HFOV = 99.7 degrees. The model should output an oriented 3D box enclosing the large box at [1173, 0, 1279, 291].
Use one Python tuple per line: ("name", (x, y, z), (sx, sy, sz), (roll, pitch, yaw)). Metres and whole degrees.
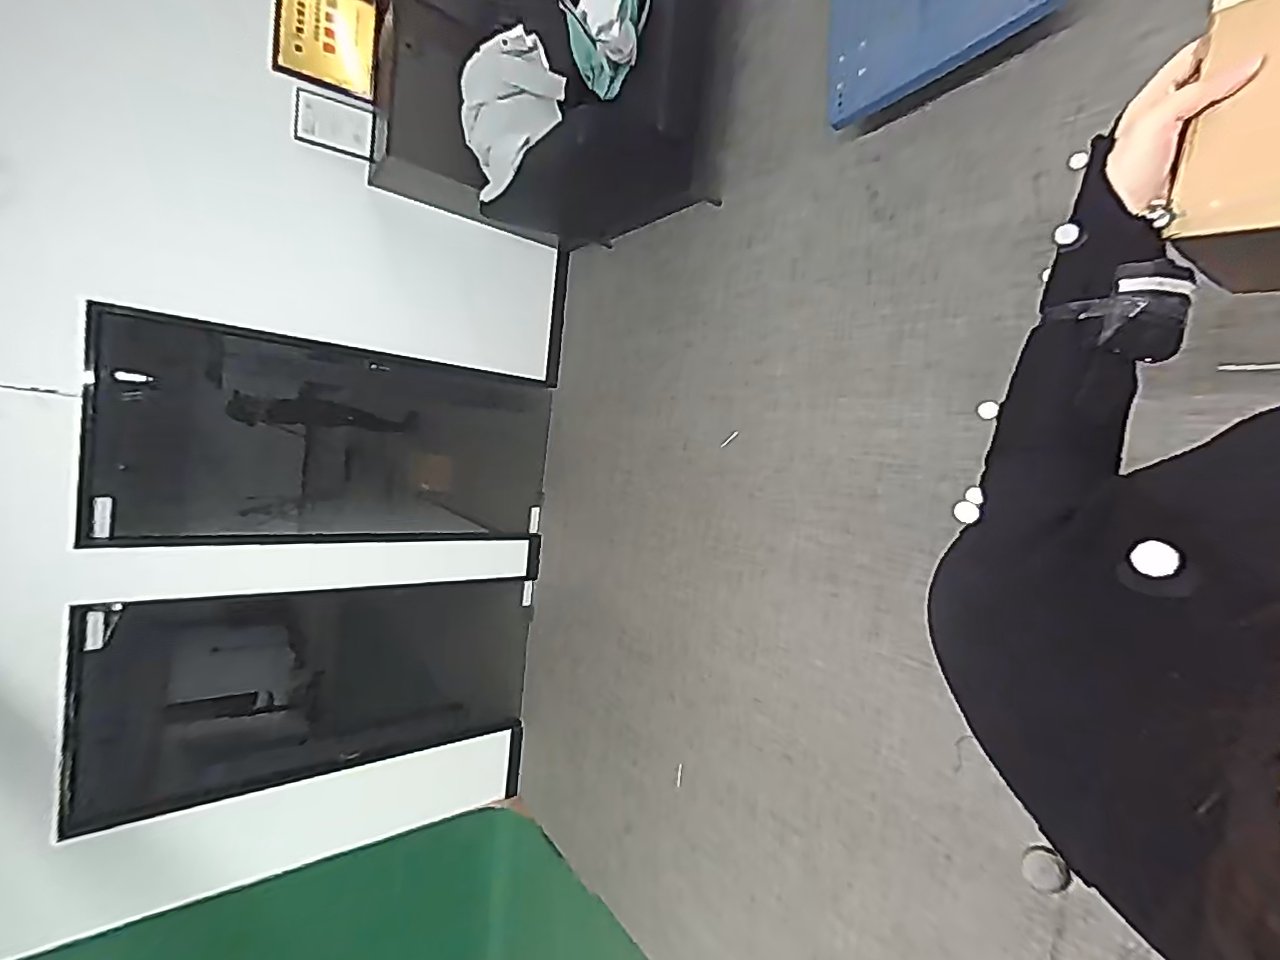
("large box", (0.652, -0.304, 0.314), (0.408, 0.320, 0.320), (18, 107, 53))
